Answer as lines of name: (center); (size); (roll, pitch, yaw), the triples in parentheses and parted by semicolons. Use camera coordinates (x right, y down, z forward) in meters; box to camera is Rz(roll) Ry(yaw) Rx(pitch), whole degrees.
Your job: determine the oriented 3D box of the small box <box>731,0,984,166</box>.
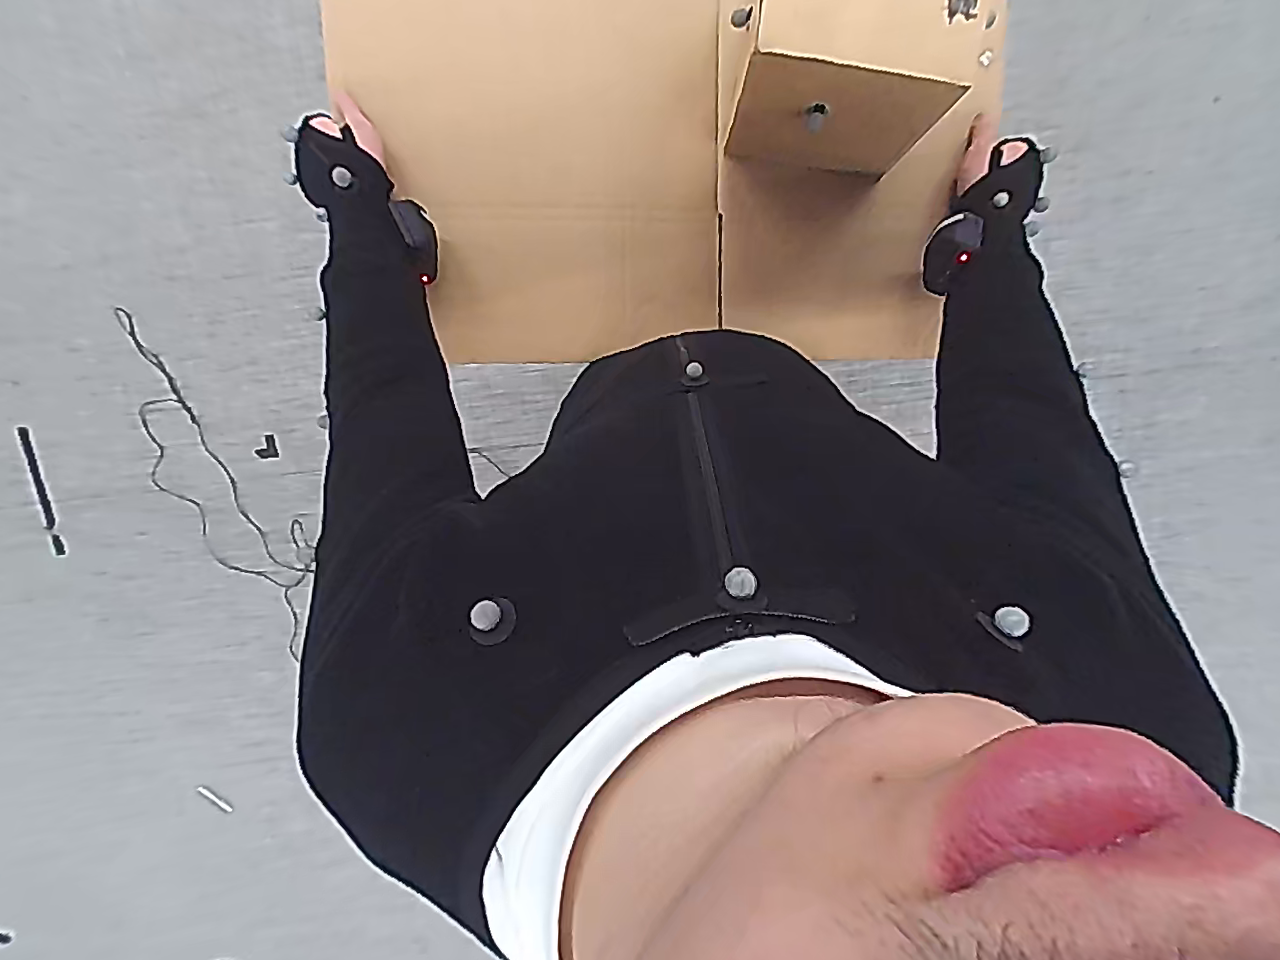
small box: (0.187, -0.416, 0.495); (0.179, 0.176, 0.168); (9, 98, 1)
